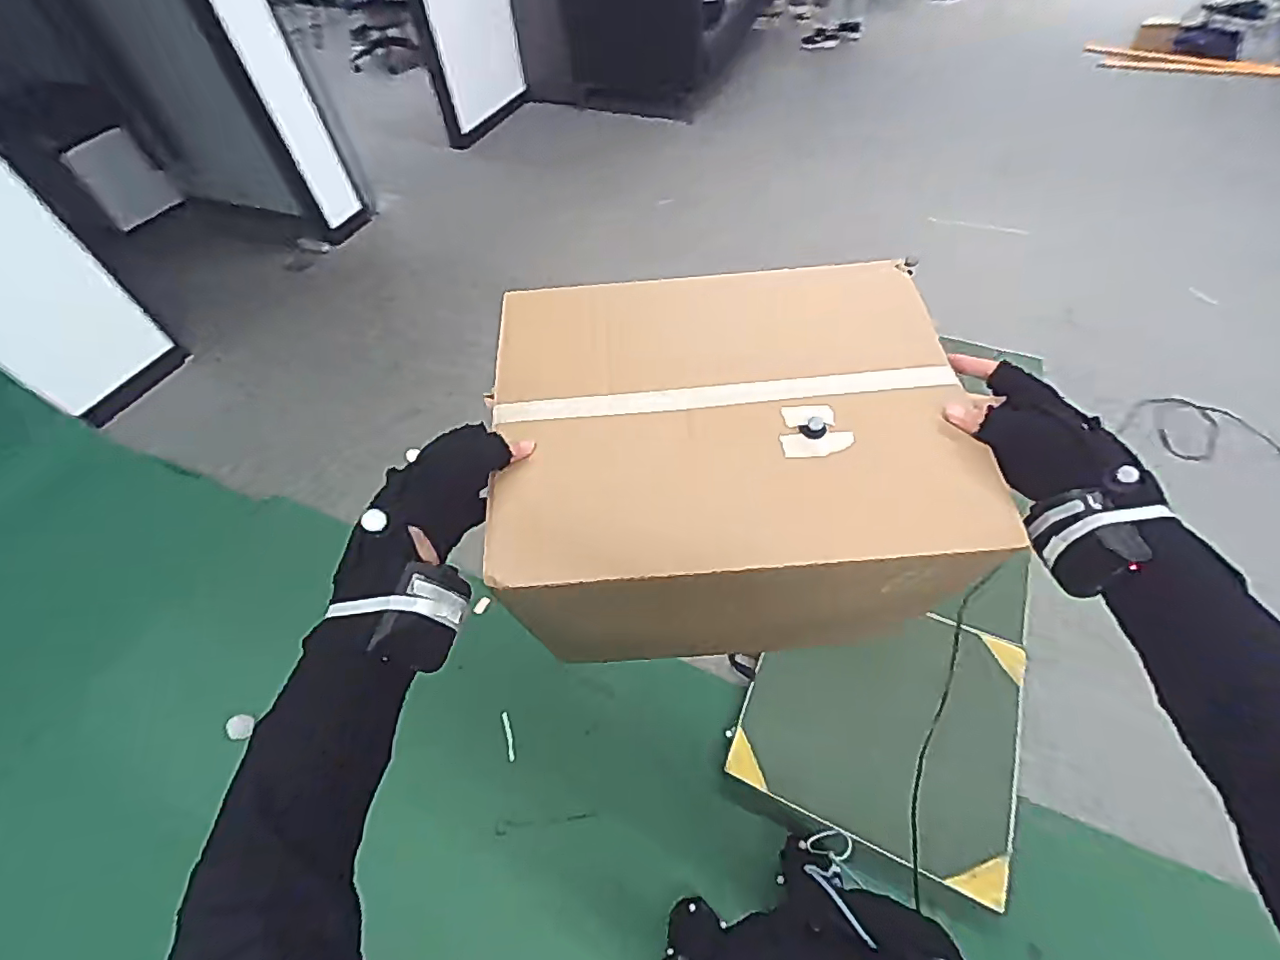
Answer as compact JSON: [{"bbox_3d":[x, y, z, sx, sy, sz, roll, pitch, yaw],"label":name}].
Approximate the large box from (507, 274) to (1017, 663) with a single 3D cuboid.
[{"bbox_3d":[0.087,0.006,0.615,0.408,0.320,0.320,-4,61,0],"label":"large box"}]
